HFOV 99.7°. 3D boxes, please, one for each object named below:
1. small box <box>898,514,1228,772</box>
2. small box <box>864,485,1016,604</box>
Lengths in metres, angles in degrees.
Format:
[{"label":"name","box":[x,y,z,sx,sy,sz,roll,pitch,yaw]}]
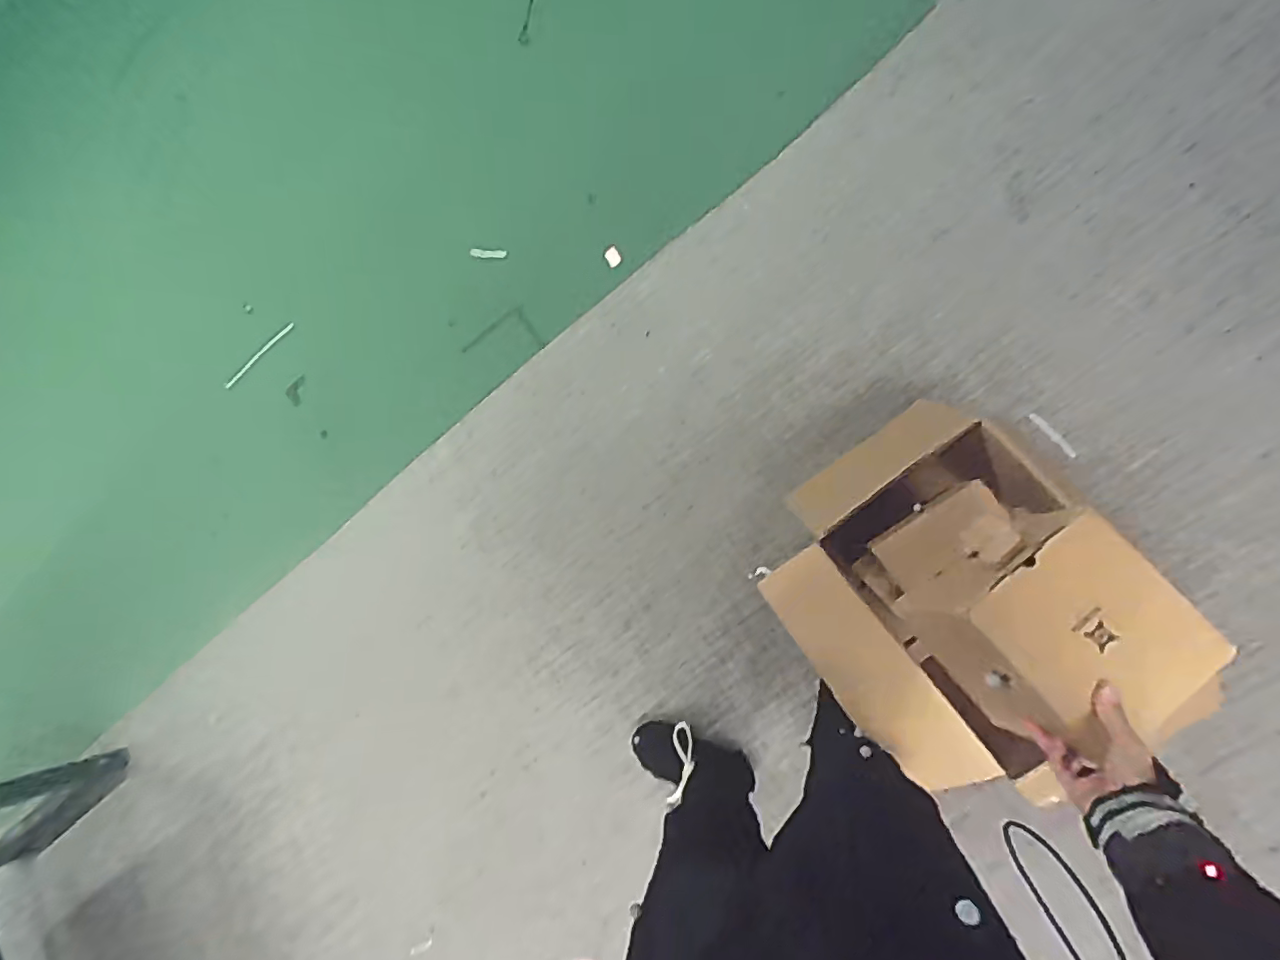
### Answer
[{"label":"small box","box":[0.421,0.161,0.575,0.168,0.176,0.179,-37,78,-6]},{"label":"small box","box":[0.470,0.126,0.832,0.179,0.176,0.168,-36,76,11]}]
